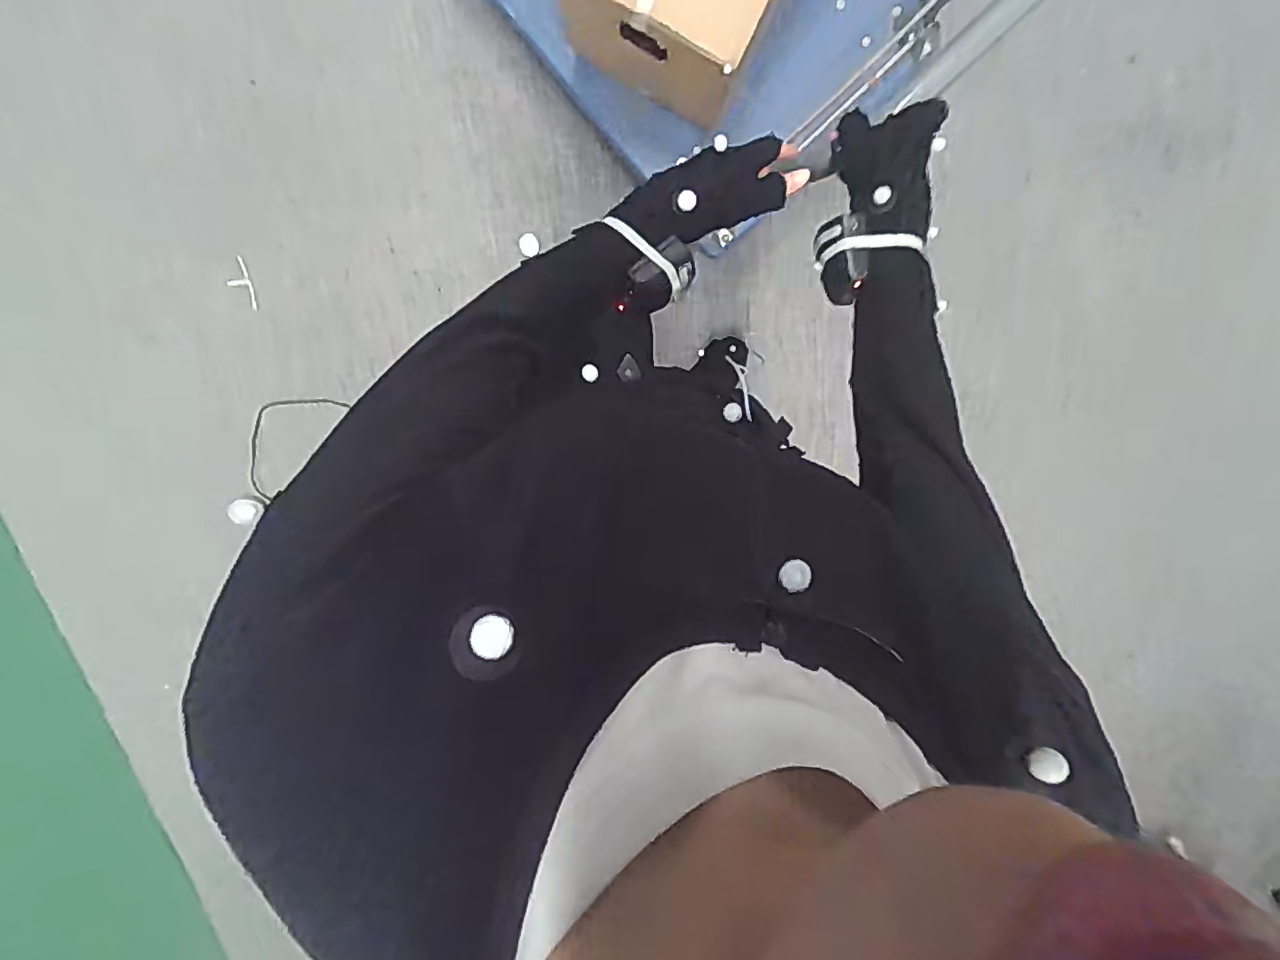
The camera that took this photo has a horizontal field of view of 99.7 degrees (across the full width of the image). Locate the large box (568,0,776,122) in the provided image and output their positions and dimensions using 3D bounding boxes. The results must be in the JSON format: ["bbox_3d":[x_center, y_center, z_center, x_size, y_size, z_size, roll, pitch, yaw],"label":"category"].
[{"bbox_3d":[0.101,-0.891,0.861,0.320,0.320,0.408,26,108,-6],"label":"large box"}]
